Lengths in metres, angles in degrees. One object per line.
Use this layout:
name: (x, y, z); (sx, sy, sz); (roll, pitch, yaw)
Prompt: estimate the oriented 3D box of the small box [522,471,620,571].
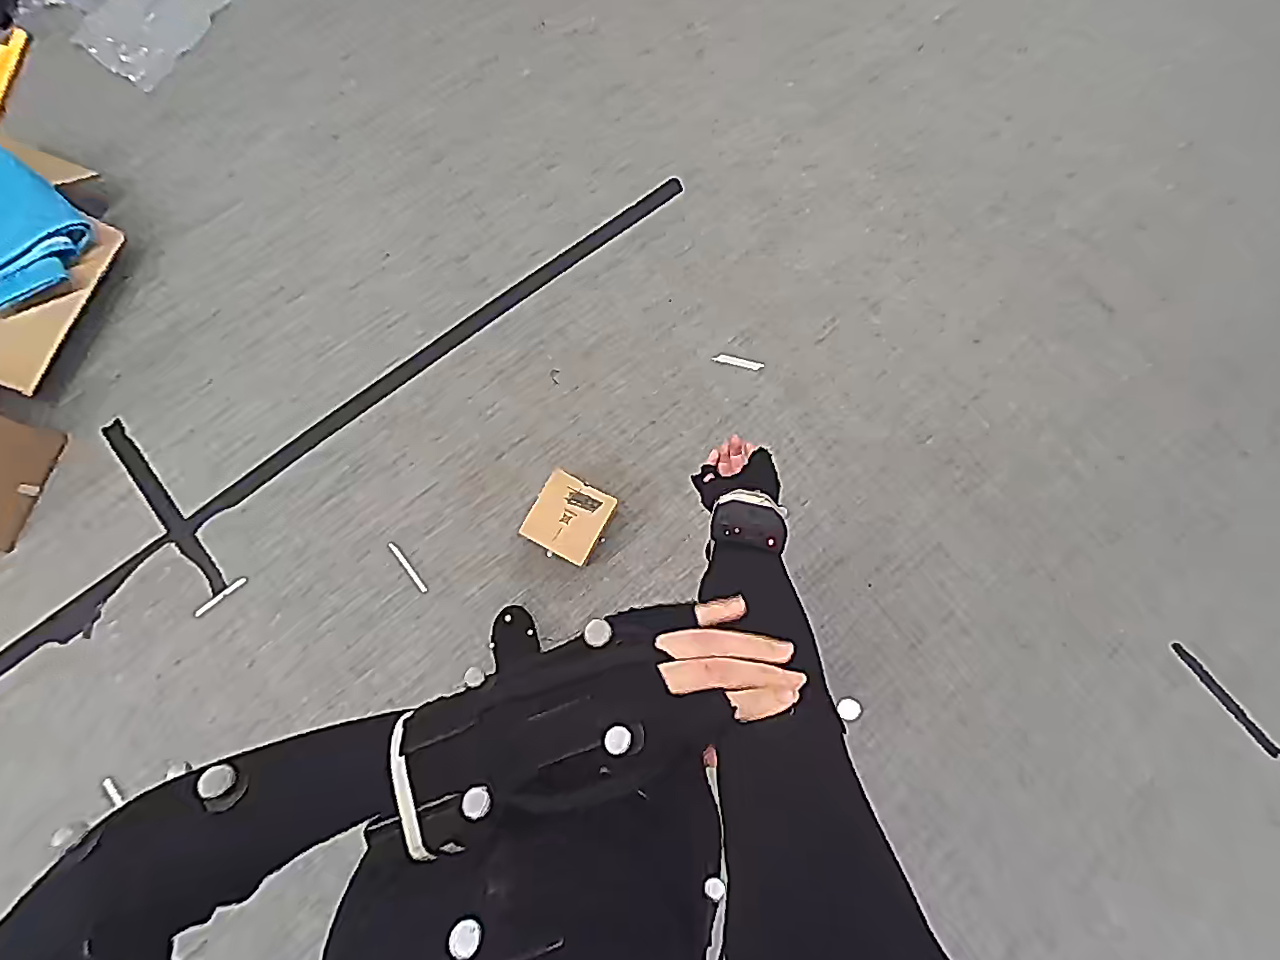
small box: (-0.161, 0.104, 1.302); (0.168, 0.176, 0.179); (29, 81, 3)
